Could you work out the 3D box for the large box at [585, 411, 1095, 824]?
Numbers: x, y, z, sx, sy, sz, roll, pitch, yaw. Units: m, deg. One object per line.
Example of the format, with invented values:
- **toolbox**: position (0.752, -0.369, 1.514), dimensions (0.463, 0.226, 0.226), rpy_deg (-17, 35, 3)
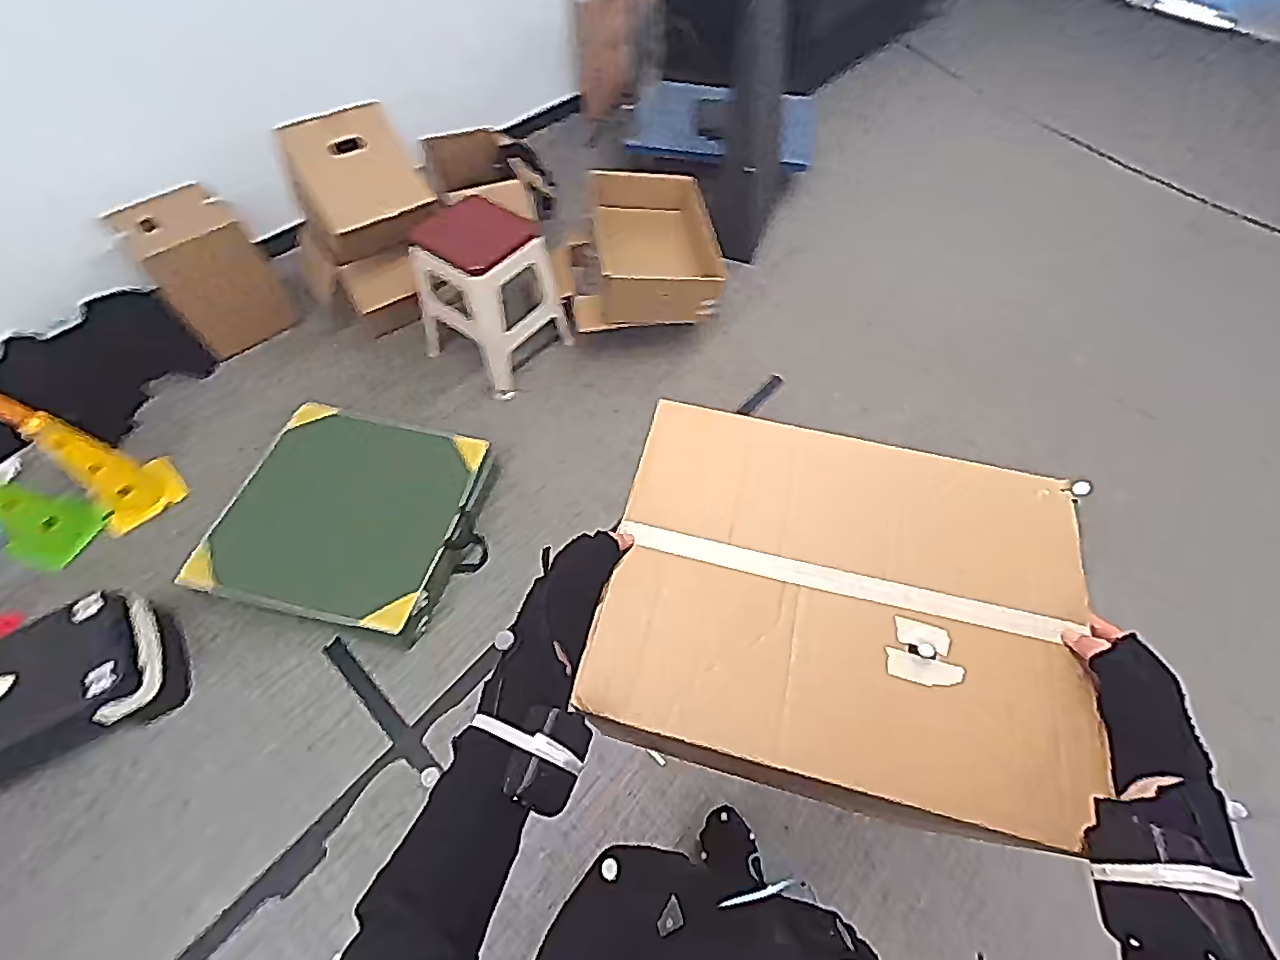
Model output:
- **large box**: position (0.176, 0.161, 0.621), dimensions (0.408, 0.320, 0.320), rpy_deg (11, 63, 6)
